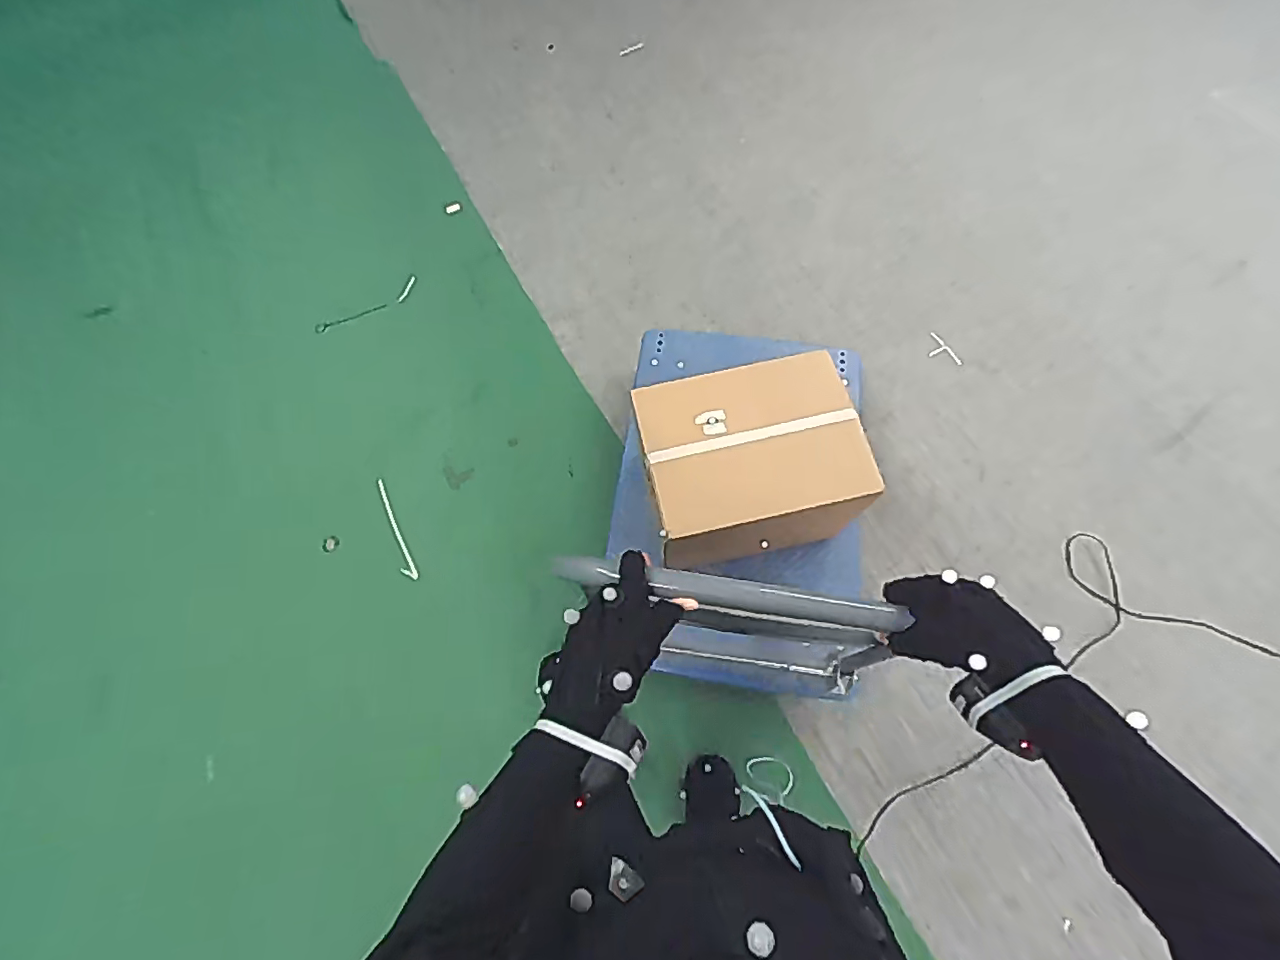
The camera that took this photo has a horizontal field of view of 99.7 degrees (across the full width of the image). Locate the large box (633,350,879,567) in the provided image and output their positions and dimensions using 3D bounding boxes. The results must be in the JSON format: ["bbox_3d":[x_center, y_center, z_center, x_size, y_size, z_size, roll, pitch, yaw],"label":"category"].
[{"bbox_3d":[0.220,-0.028,1.165,0.408,0.320,0.320,-13,68,-1],"label":"large box"}]
